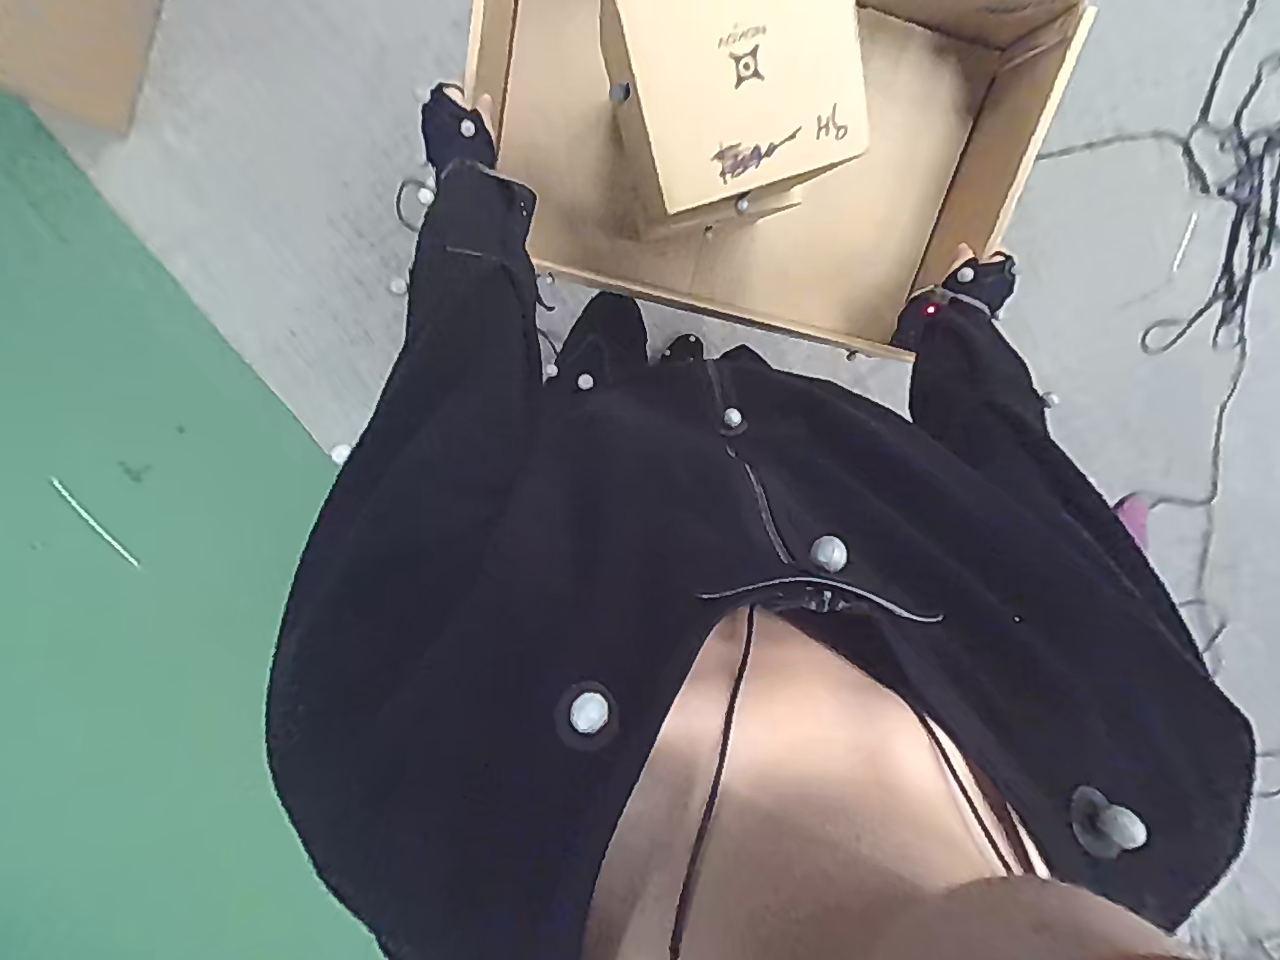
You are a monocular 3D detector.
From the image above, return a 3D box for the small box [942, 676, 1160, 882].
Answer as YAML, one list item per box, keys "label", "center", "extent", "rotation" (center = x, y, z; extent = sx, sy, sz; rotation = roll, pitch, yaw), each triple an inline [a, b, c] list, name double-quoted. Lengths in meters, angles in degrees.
- label: "small box"
  center: [0.599, 0.435, 0.808]
  extent: [0.168, 0.176, 0.179]
  rotation: [-32, 103, 7]

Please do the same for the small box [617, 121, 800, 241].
- label: "small box"
  center: [0.069, -0.380, 0.615]
  extent: [0.168, 0.176, 0.179]
  rotation: [-12, 110, -1]

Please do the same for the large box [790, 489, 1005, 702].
- label: "large box"
  center: [0.668, 0.295, 1.458]
  extent: [0.320, 0.320, 0.408]
  rotation: [-33, 102, 6]

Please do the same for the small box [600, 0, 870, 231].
- label: "small box"
  center: [0.066, -0.332, 0.457]
  extent: [0.168, 0.176, 0.179]
  rotation: [-17, 109, 2]
